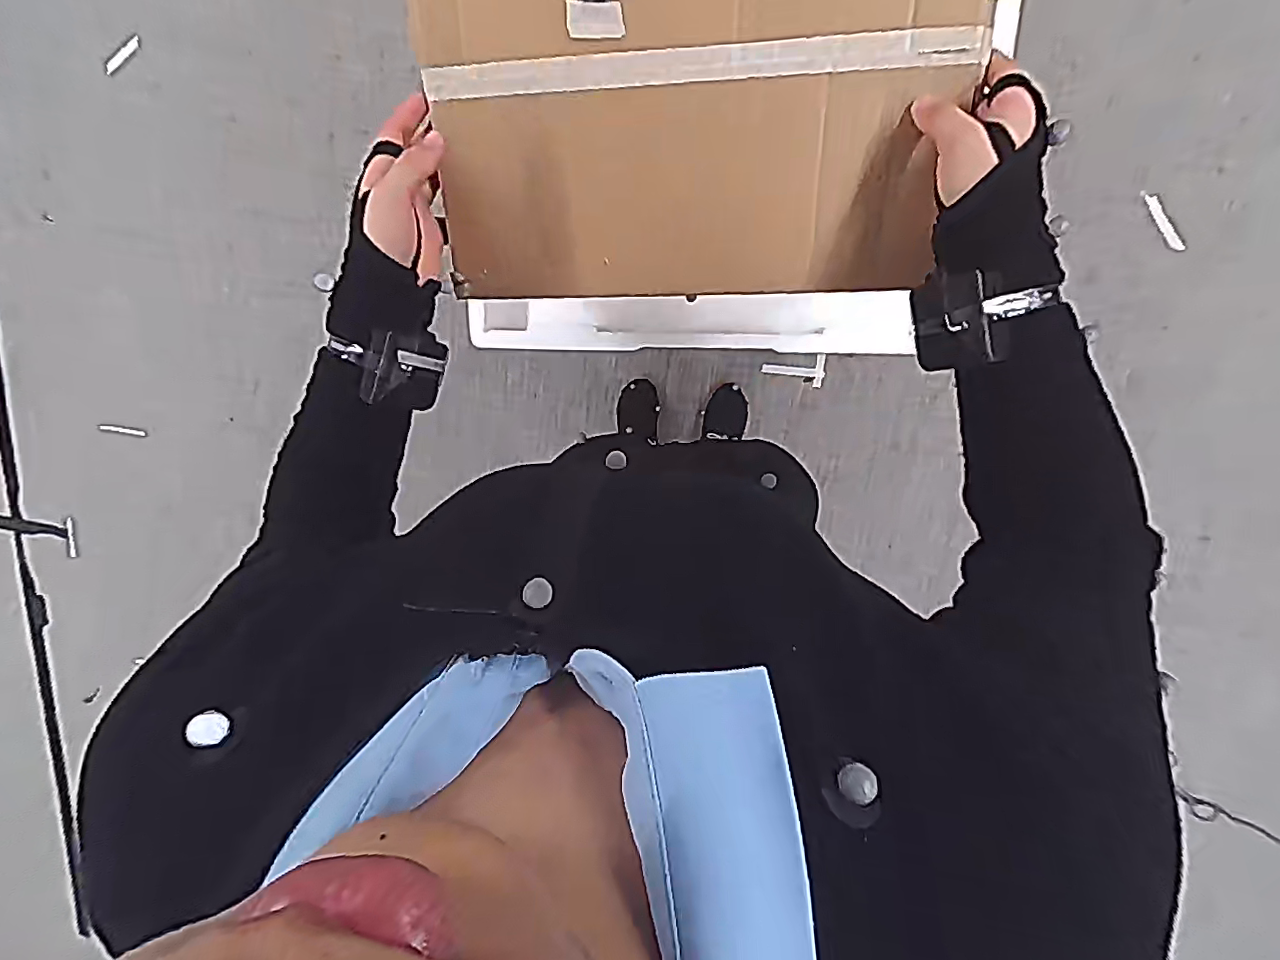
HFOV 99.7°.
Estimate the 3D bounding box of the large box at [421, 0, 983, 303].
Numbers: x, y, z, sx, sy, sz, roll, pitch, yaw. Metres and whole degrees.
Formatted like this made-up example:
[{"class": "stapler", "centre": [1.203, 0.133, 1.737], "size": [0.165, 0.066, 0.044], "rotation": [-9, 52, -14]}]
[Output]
[{"class": "large box", "centre": [0.055, -0.354, 0.535], "size": [0.408, 0.320, 0.320], "rotation": [1, 111, 7]}]
